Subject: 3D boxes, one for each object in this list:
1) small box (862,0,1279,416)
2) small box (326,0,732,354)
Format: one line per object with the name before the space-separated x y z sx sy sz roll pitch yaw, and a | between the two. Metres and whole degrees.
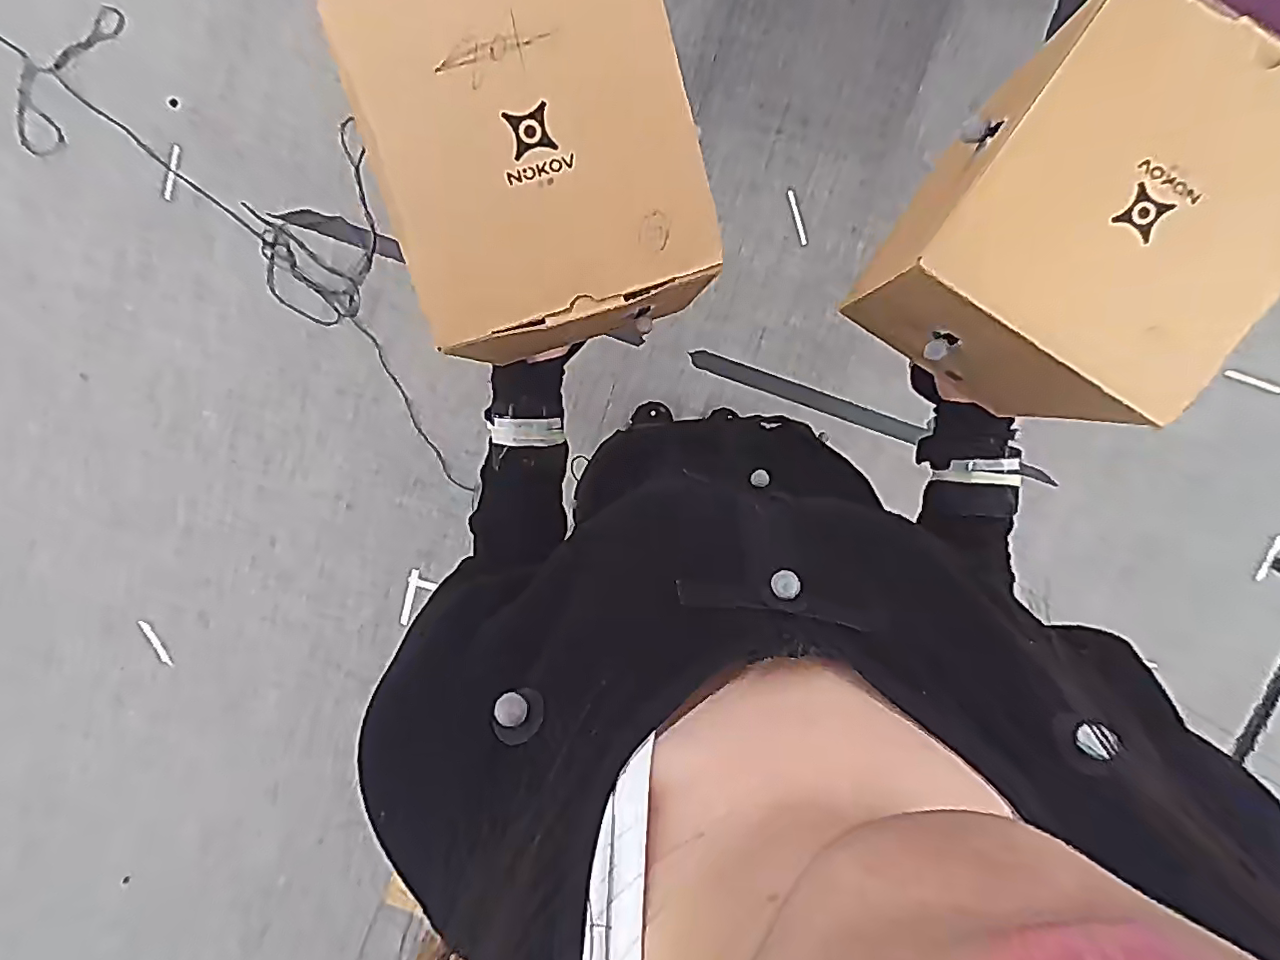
small box | 0.276 -0.159 0.361 0.168 0.176 0.179 33 99 0
small box | -0.055 -0.187 0.354 0.168 0.176 0.179 -18 100 -1
